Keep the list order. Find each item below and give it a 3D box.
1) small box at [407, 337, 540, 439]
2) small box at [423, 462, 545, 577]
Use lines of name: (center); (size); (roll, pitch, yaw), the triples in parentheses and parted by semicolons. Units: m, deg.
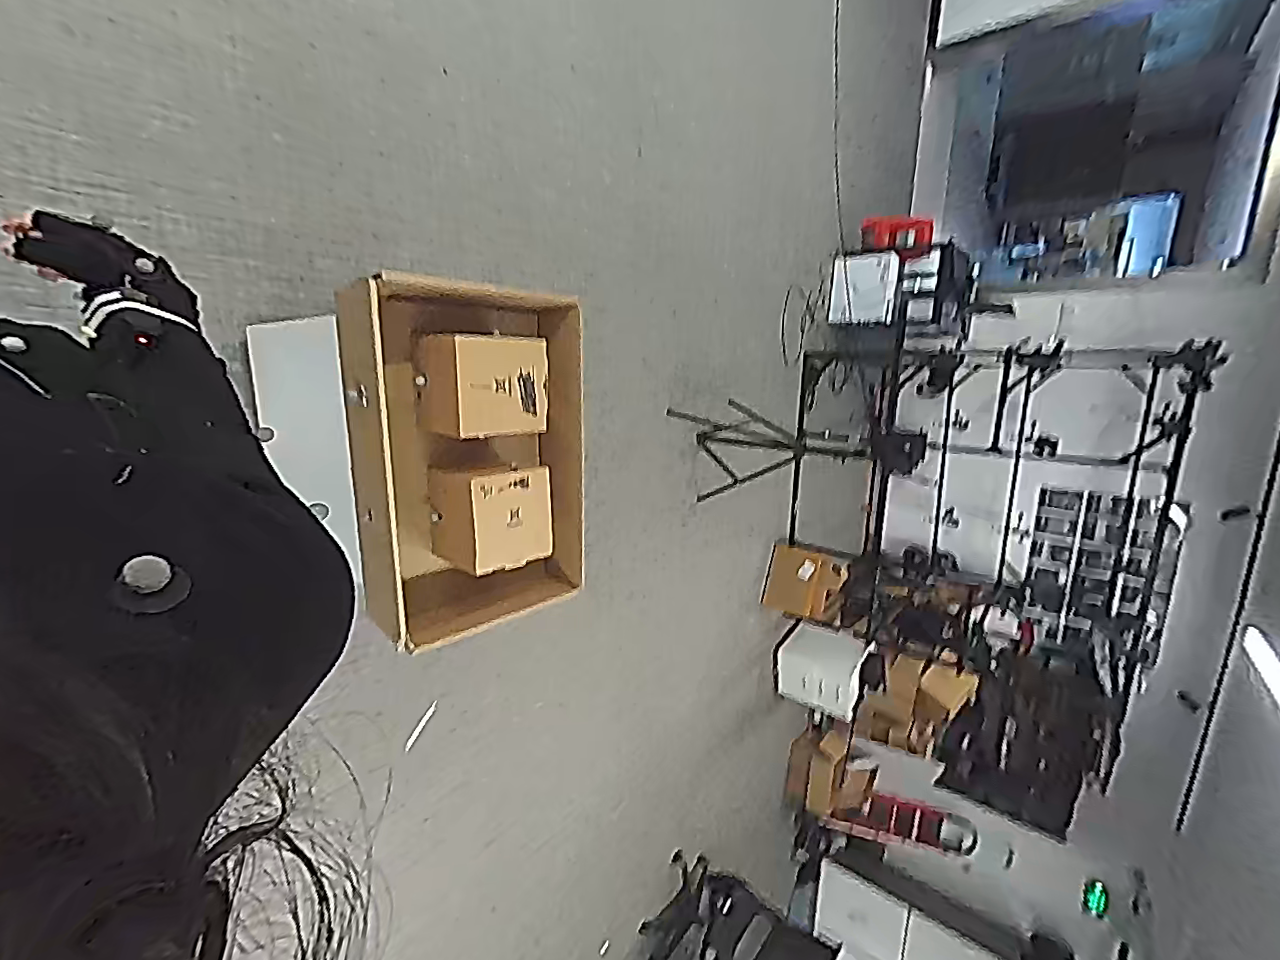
small box: (-0.301, -0.170, 0.982); (0.179, 0.176, 0.168); (-10, 106, -45)
small box: (-0.300, 0.066, 1.037); (0.168, 0.176, 0.179); (-10, 105, -46)
